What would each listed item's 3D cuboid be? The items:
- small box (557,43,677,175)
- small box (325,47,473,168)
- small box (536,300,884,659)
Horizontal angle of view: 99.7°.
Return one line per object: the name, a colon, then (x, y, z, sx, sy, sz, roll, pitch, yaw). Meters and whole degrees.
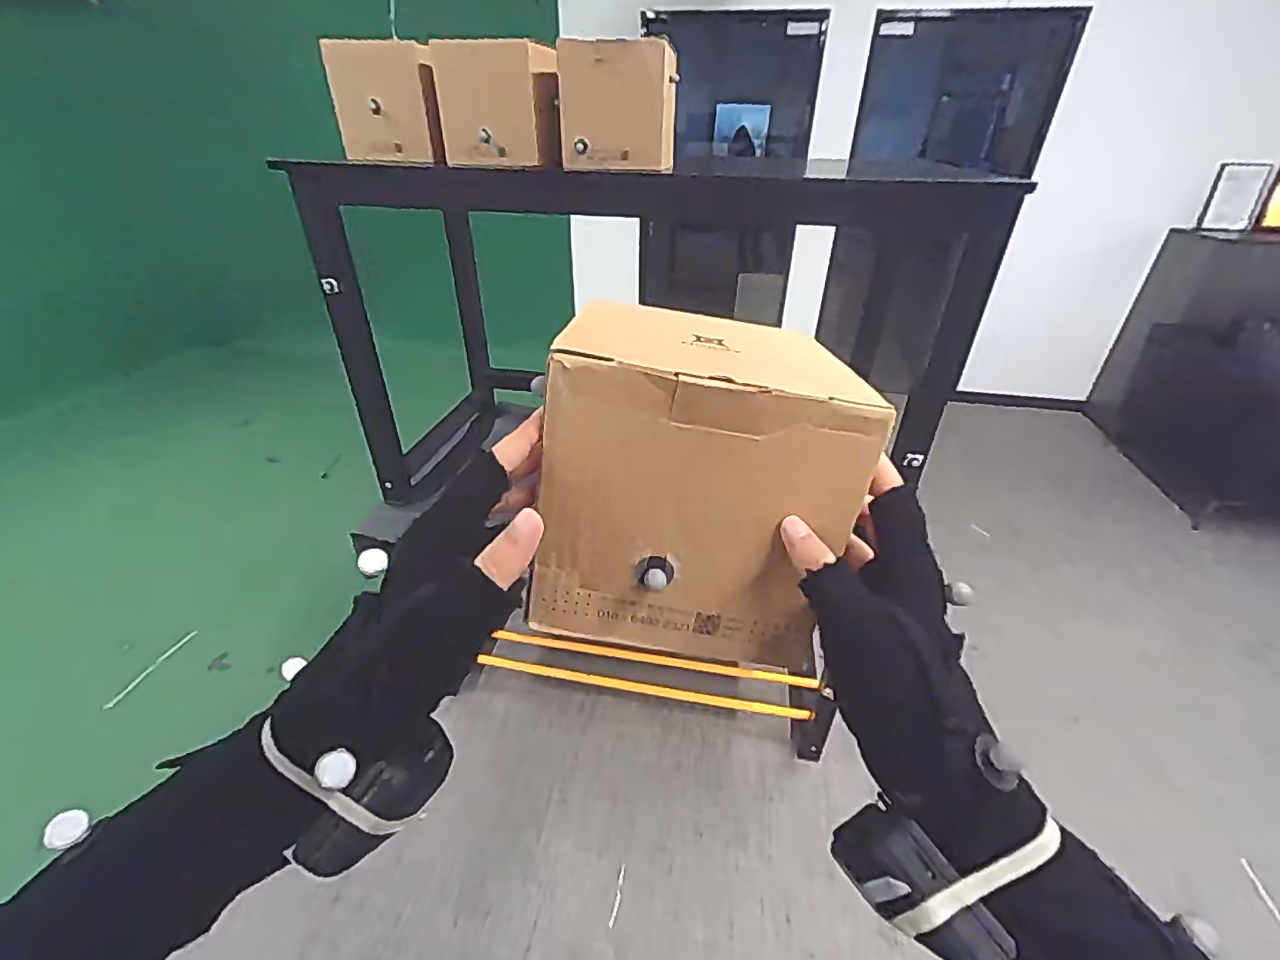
small box: (-0.030, -0.609, 0.901, 0.168, 0.176, 0.179, 5, 32, 7)
small box: (-0.418, -0.665, 0.976, 0.168, 0.176, 0.179, 8, 33, 8)
small box: (0.029, -0.011, 0.367, 0.168, 0.176, 0.179, 9, 26, -2)
